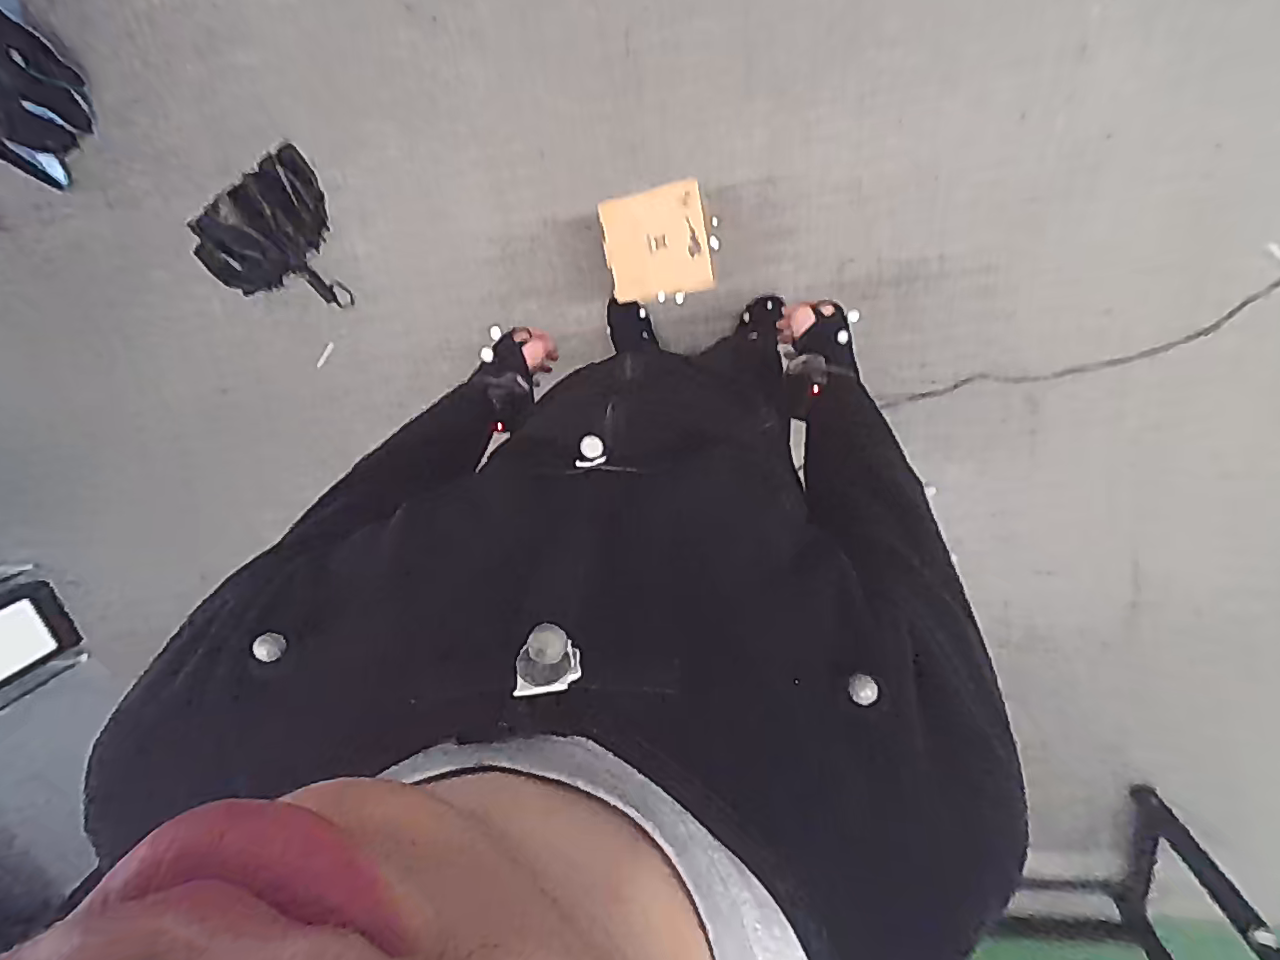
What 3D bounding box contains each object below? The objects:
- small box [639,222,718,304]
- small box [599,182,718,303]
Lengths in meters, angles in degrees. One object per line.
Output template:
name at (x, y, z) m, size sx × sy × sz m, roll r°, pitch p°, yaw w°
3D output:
small box at (0.074, -0.484, 1.157) m, size 0.168 × 0.176 × 0.179 m, roll -8°, pitch 110°, yaw 13°
small box at (0.043, -0.432, 1.005) m, size 0.179 × 0.176 × 0.168 m, roll -8°, pitch 109°, yaw 14°
